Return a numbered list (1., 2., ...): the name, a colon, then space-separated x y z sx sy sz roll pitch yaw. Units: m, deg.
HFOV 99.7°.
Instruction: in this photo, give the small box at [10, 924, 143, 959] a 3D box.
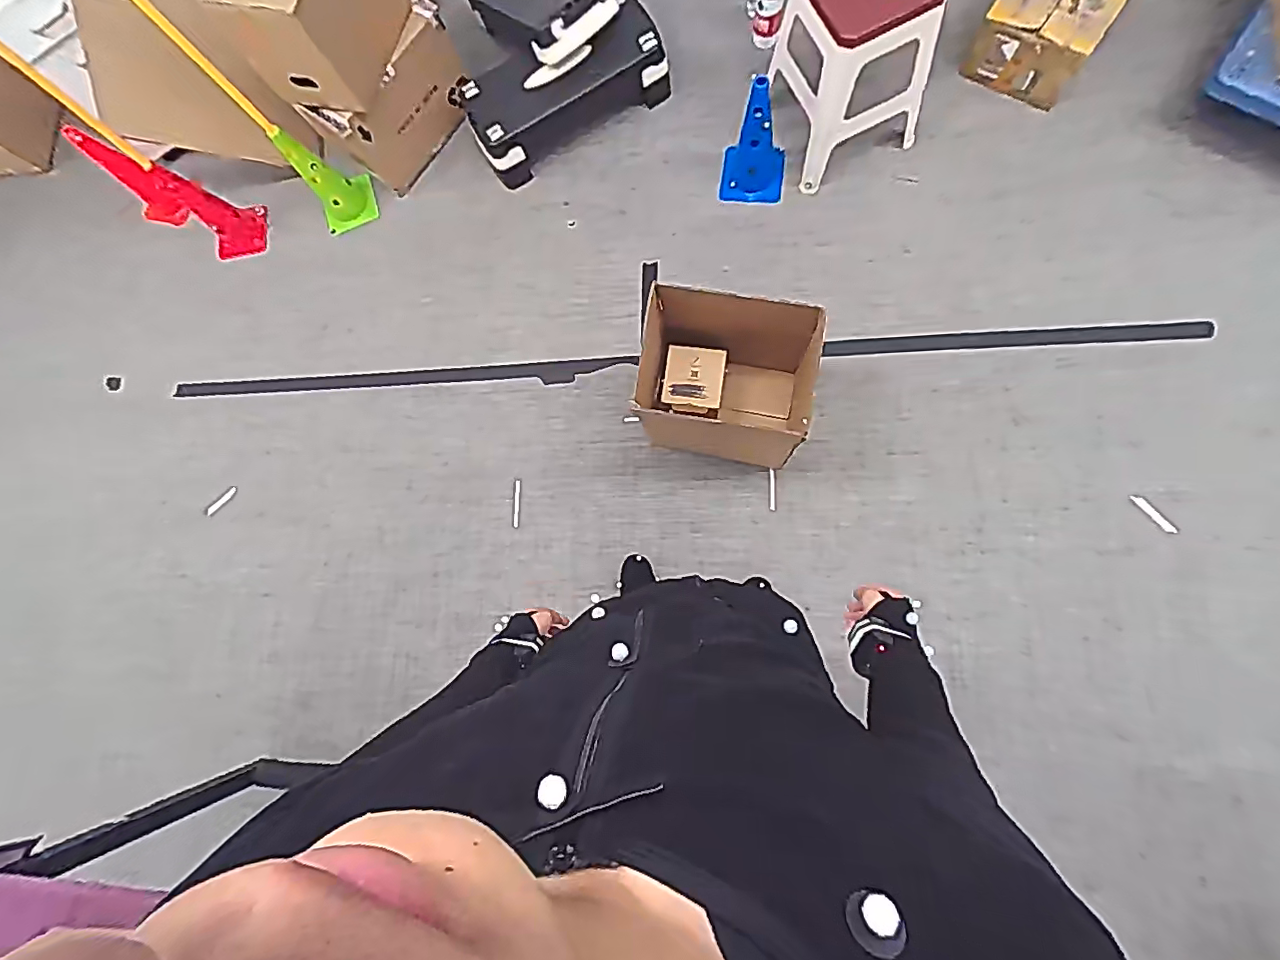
1. small box: -0.959 0.860 0.872 0.179 0.176 0.168 -6 81 9
